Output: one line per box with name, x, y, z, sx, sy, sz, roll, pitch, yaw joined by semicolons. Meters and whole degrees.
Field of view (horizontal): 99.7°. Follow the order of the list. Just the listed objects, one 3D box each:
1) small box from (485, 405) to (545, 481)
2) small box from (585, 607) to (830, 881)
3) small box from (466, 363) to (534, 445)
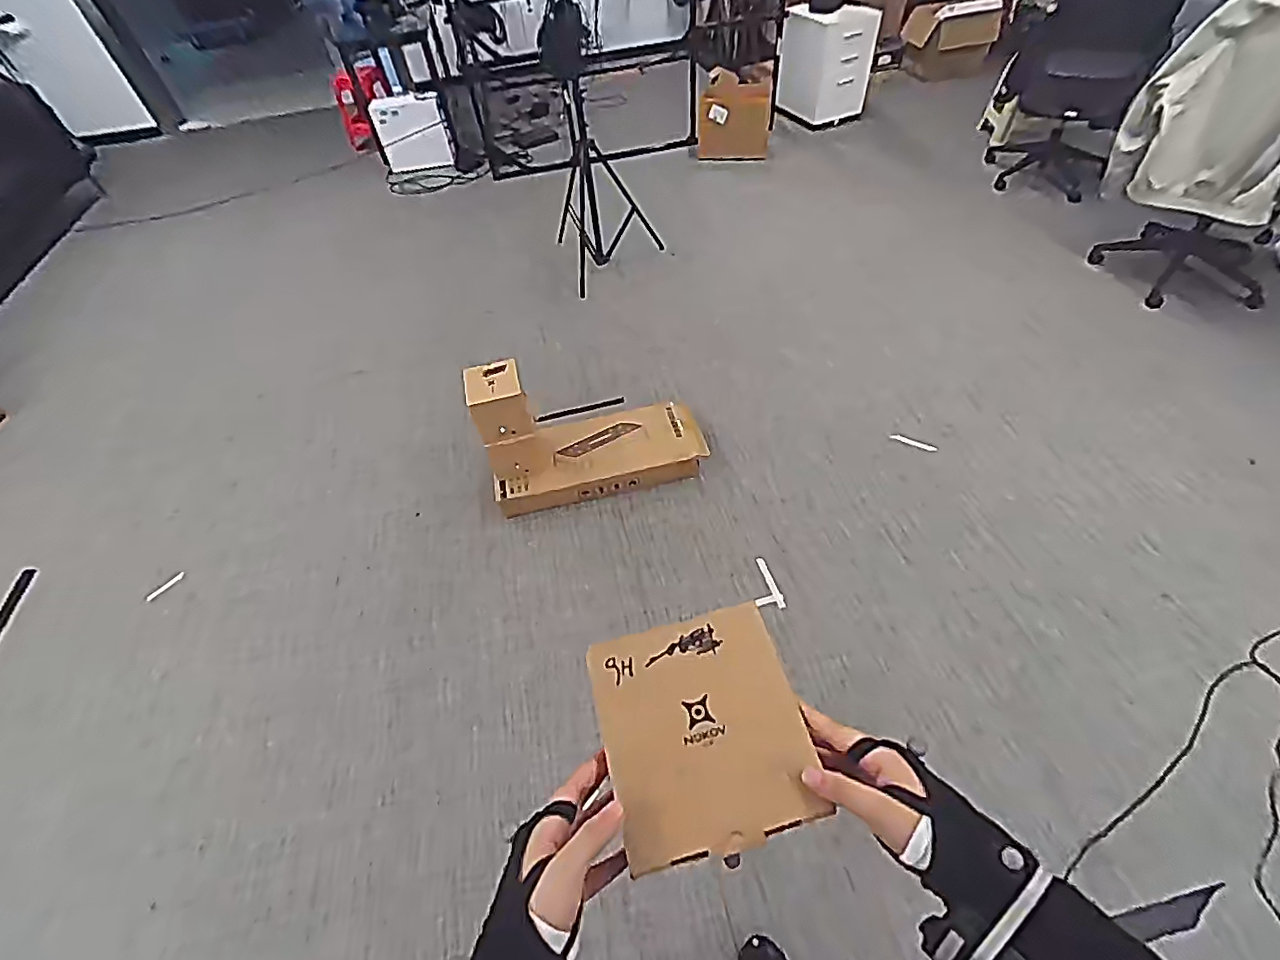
small box;-0.426;-0.125;1.836;0.168;0.176;0.179;-13;50;-5
small box;0.055;0.248;0.518;0.168;0.176;0.179;-15;58;-5
small box;-0.445;-0.241;1.721;0.168;0.176;0.179;-14;50;-6
